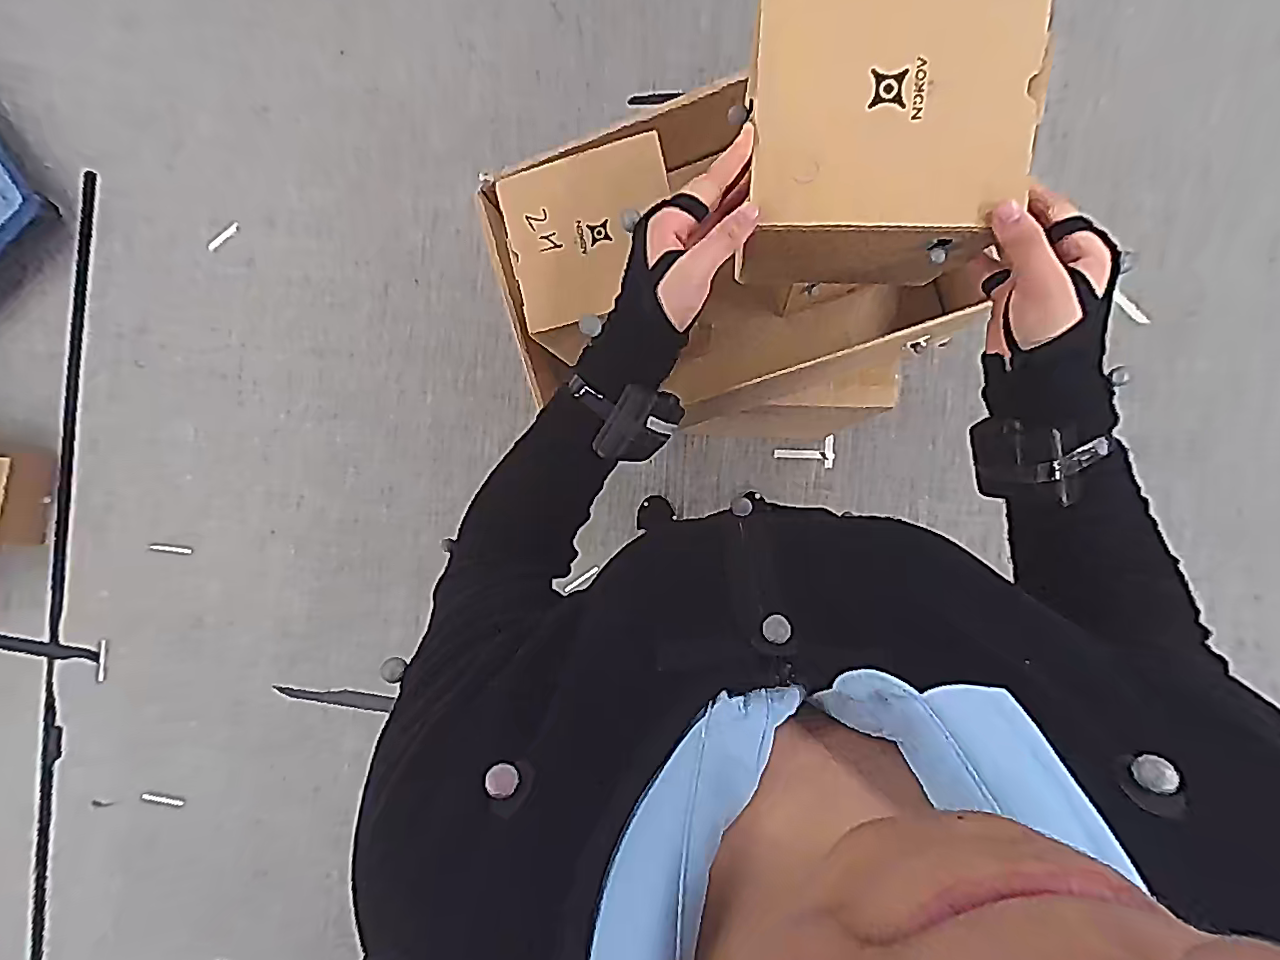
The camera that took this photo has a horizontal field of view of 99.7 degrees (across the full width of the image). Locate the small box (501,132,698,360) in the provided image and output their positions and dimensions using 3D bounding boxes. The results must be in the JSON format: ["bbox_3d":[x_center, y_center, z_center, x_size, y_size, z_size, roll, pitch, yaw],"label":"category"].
[{"bbox_3d":[-0.033,-0.250,0.624,0.179,0.176,0.168,-13,89,8],"label":"small box"}]

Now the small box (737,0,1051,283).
[{"bbox_3d":[0.170,-0.256,0.420,0.179,0.176,0.168,3,98,6],"label":"small box"}]
